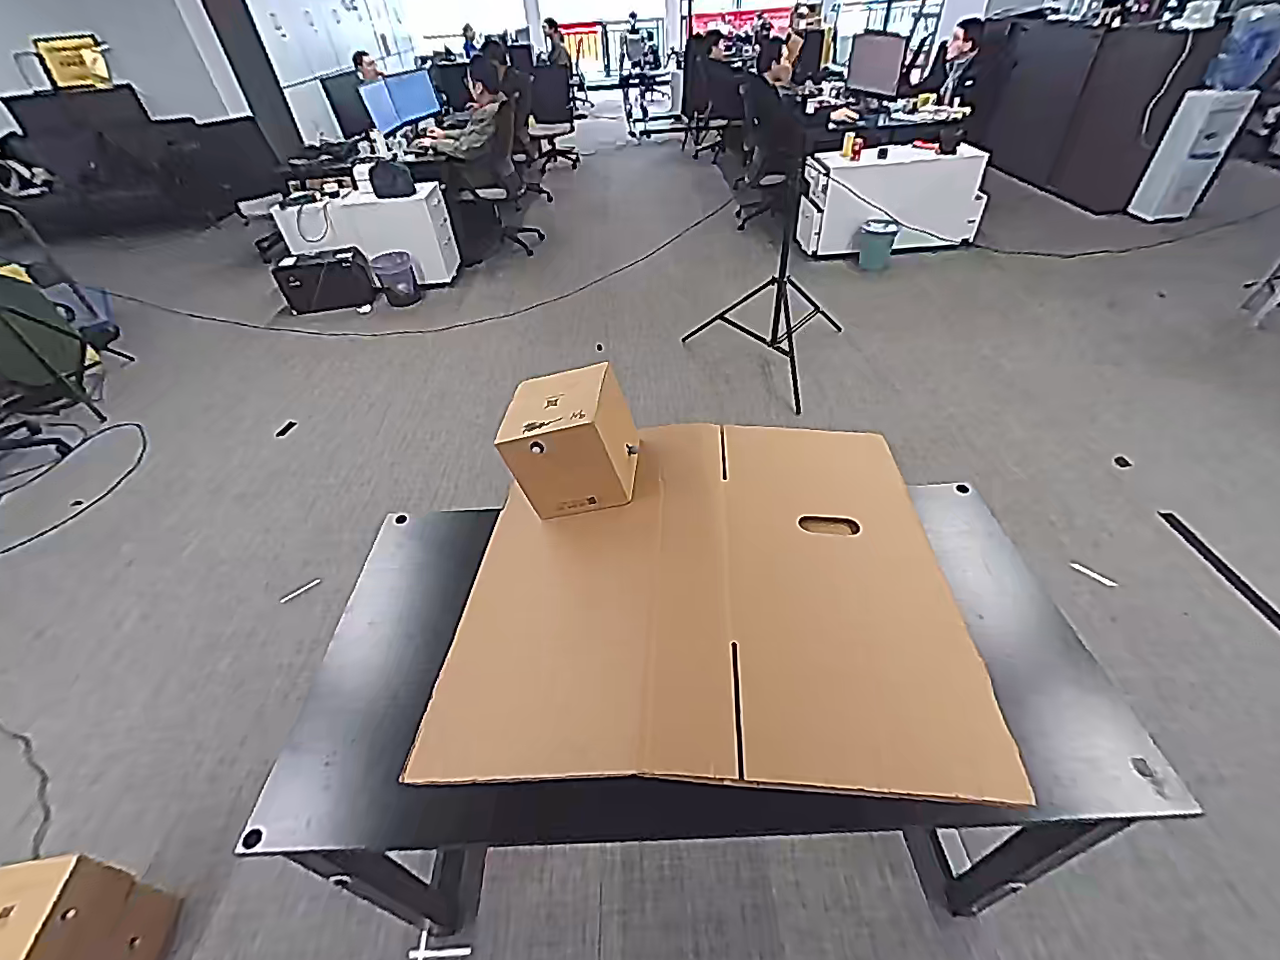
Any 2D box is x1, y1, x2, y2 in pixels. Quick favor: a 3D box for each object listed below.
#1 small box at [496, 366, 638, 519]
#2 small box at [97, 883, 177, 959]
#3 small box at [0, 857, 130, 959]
[{"bbox_3d":[-0.108,-0.061,0.901,0.168,0.176,0.179,-11,38,15],"label":"small box"},{"bbox_3d":[-1.145,0.989,1.146,0.168,0.176,0.179,-6,42,-2],"label":"small box"},{"bbox_3d":[-1.156,0.864,1.042,0.168,0.176,0.179,-8,41,-5],"label":"small box"}]
